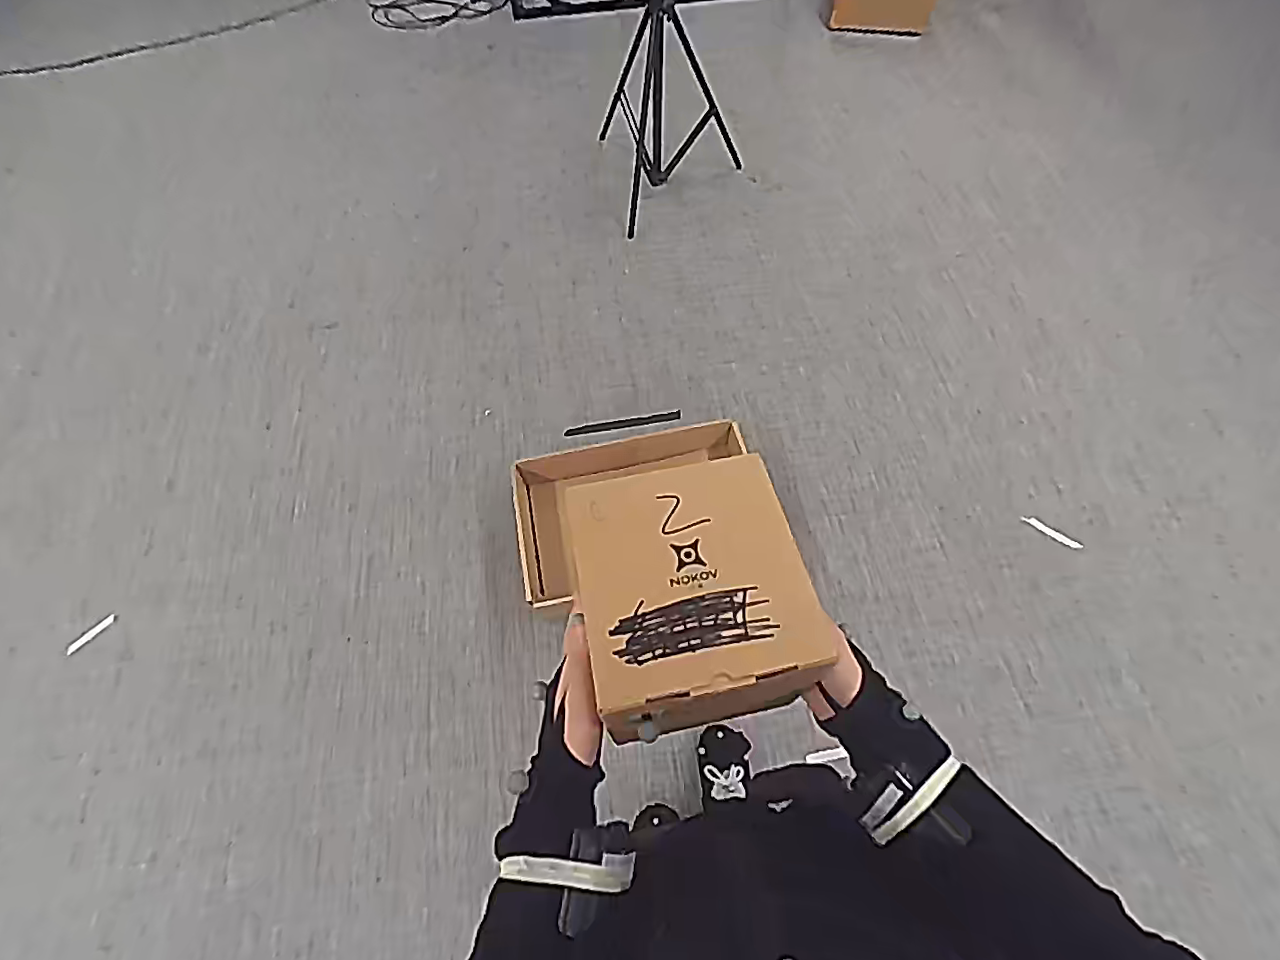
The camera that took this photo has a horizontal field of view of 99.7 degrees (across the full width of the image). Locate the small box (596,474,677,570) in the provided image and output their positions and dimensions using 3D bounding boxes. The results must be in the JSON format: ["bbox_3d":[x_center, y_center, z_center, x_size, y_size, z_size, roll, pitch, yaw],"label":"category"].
[{"bbox_3d":[-0.010,0.112,1.408,0.168,0.176,0.179,-17,66,-6],"label":"small box"}]
